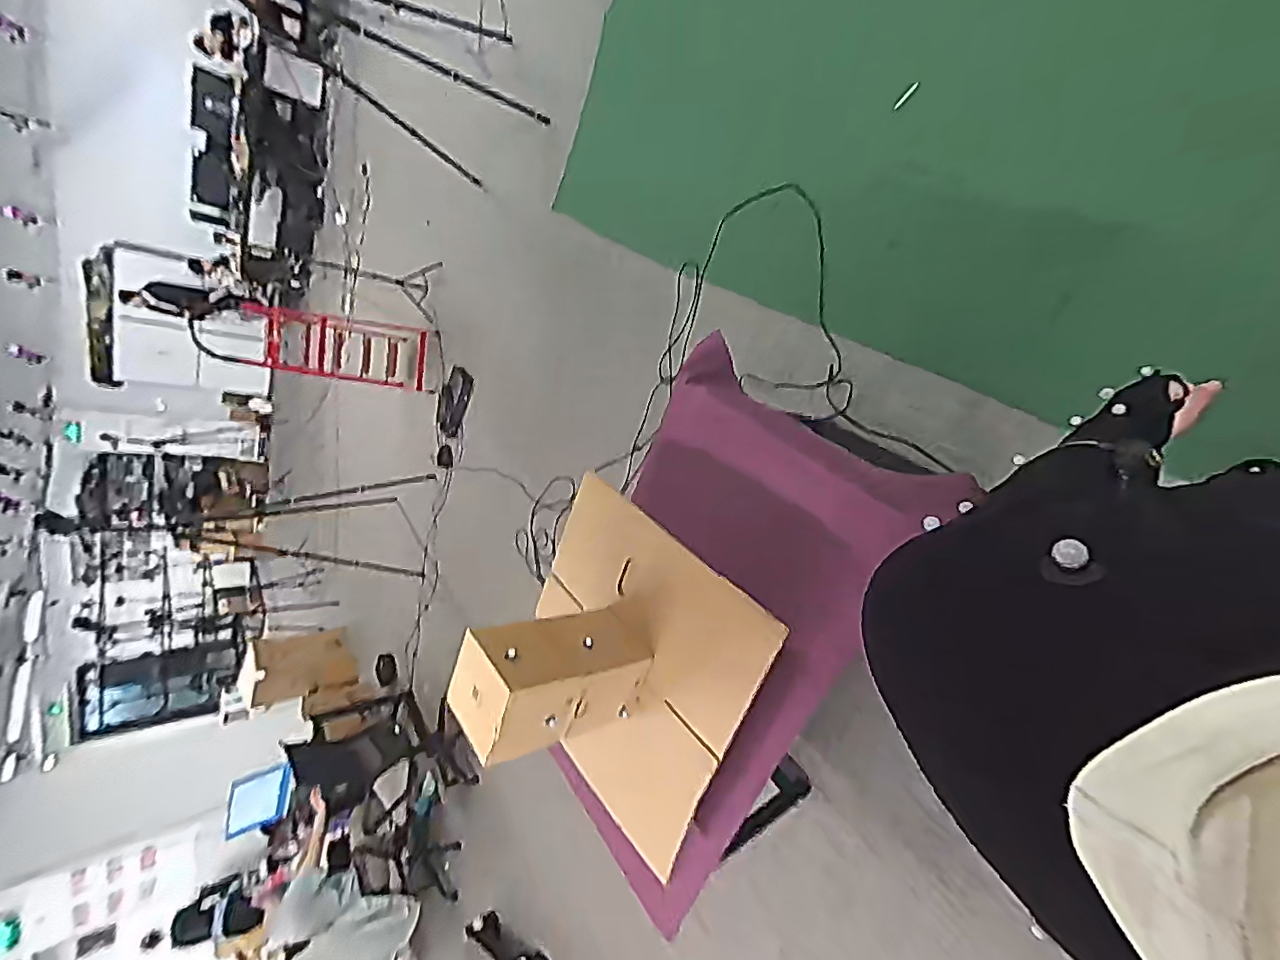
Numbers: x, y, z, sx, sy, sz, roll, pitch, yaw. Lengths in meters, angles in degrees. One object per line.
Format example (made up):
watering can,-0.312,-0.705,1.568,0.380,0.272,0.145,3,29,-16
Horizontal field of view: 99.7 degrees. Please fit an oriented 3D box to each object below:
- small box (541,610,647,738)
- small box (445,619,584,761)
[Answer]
small box,-0.114,0.387,1.118,0.179,0.176,0.168,37,113,41
small box,-0.234,0.378,1.010,0.179,0.176,0.168,35,111,40
